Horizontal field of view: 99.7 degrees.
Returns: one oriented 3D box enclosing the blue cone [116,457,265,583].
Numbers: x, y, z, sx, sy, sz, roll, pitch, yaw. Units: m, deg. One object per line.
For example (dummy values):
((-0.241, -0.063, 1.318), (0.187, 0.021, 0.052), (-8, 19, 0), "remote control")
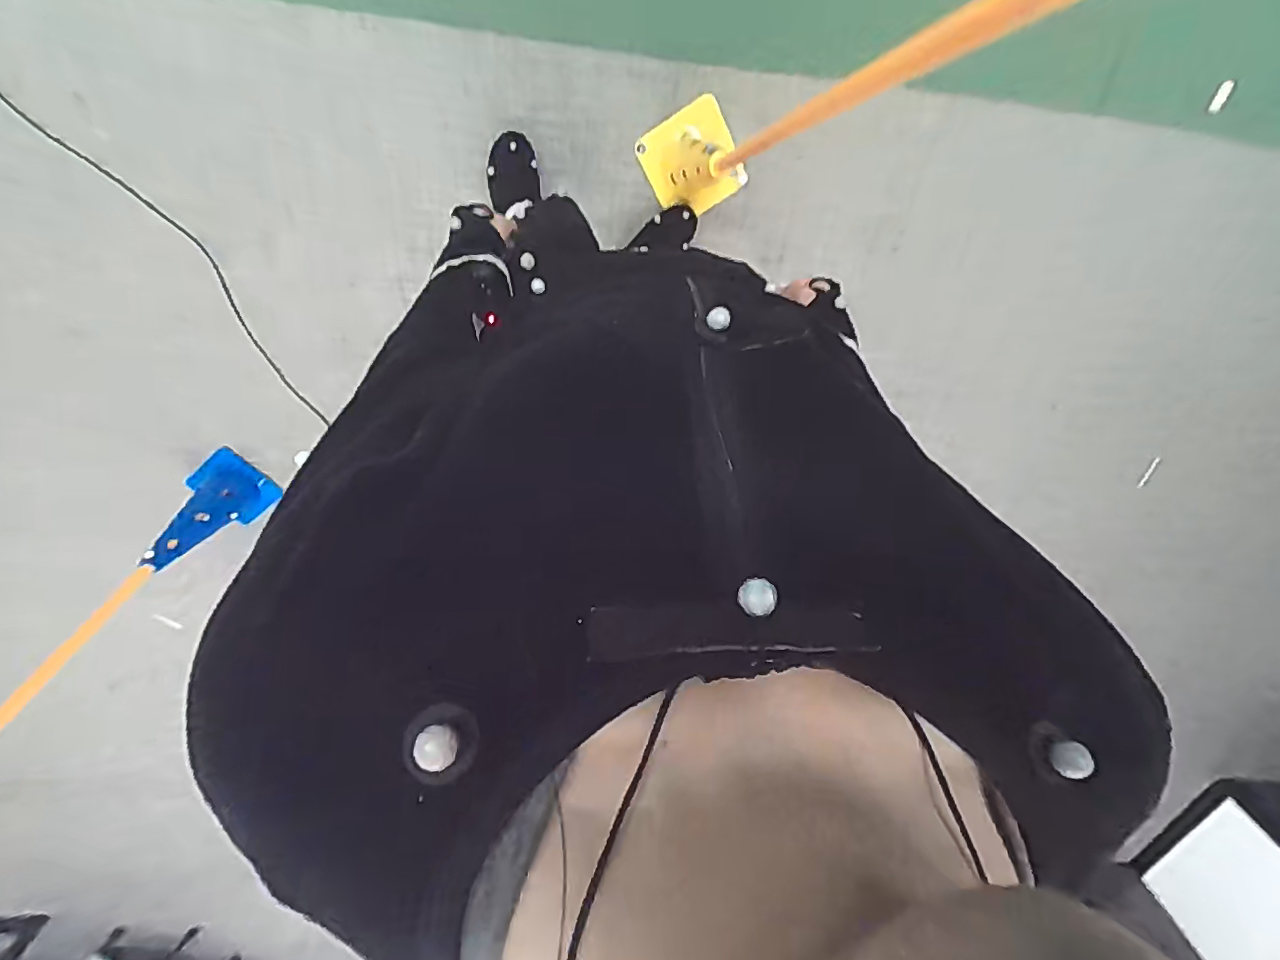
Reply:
((-1.173, 0.128, 1.388), (0.193, 0.380, 0.192), (-35, 118, 17), "blue cone")
